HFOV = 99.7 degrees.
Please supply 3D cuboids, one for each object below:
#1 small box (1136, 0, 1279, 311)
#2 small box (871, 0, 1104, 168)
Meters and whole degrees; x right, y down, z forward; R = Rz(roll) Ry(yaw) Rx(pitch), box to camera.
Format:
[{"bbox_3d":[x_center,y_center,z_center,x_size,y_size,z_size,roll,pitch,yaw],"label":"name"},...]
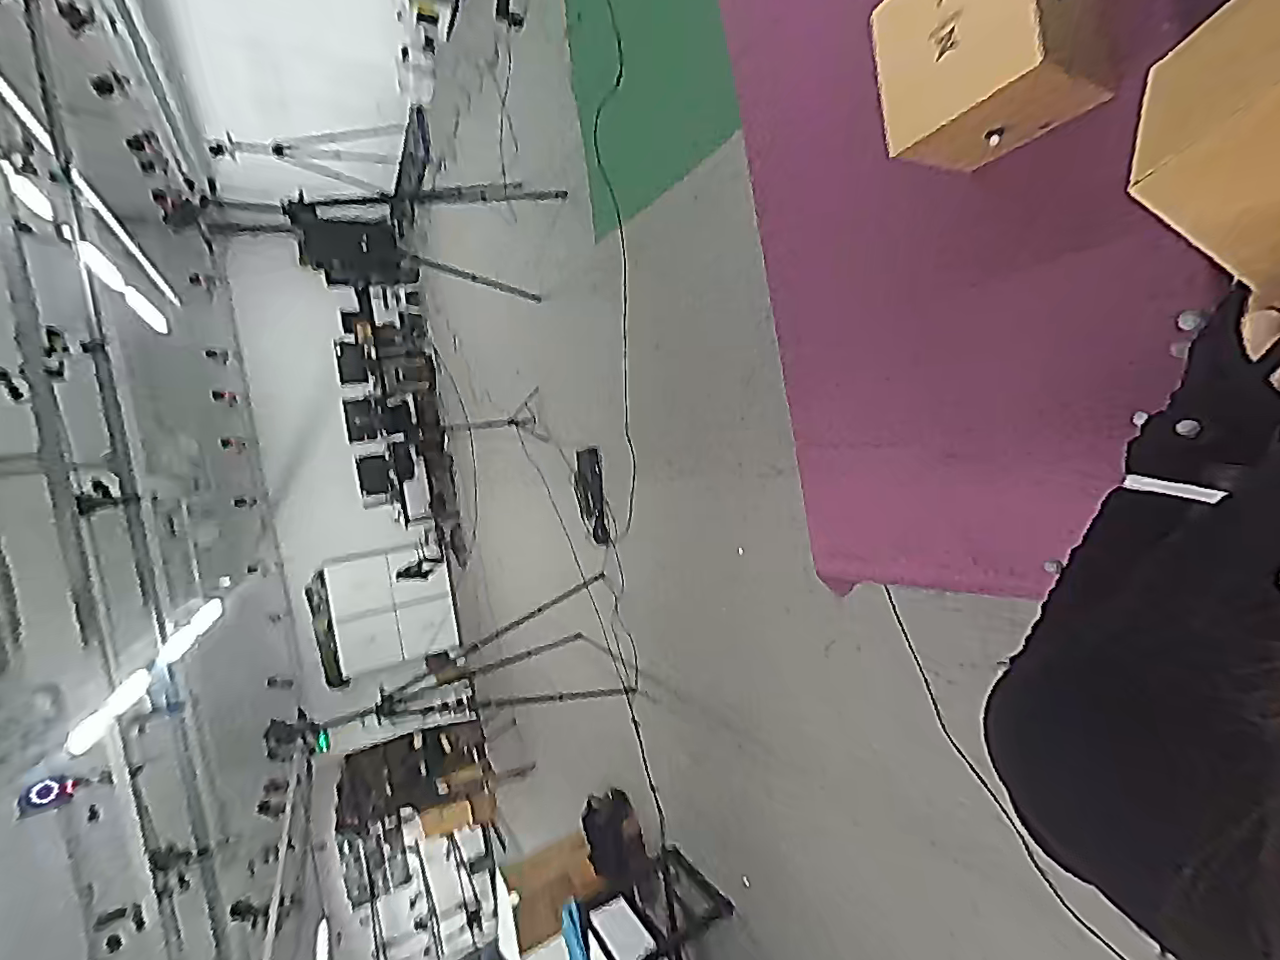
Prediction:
[{"bbox_3d":[0.443,-0.229,0.306,0.168,0.176,0.179,35,154,-5],"label":"small box"},{"bbox_3d":[0.403,-0.490,0.629,0.168,0.176,0.179,-4,95,60],"label":"small box"}]
